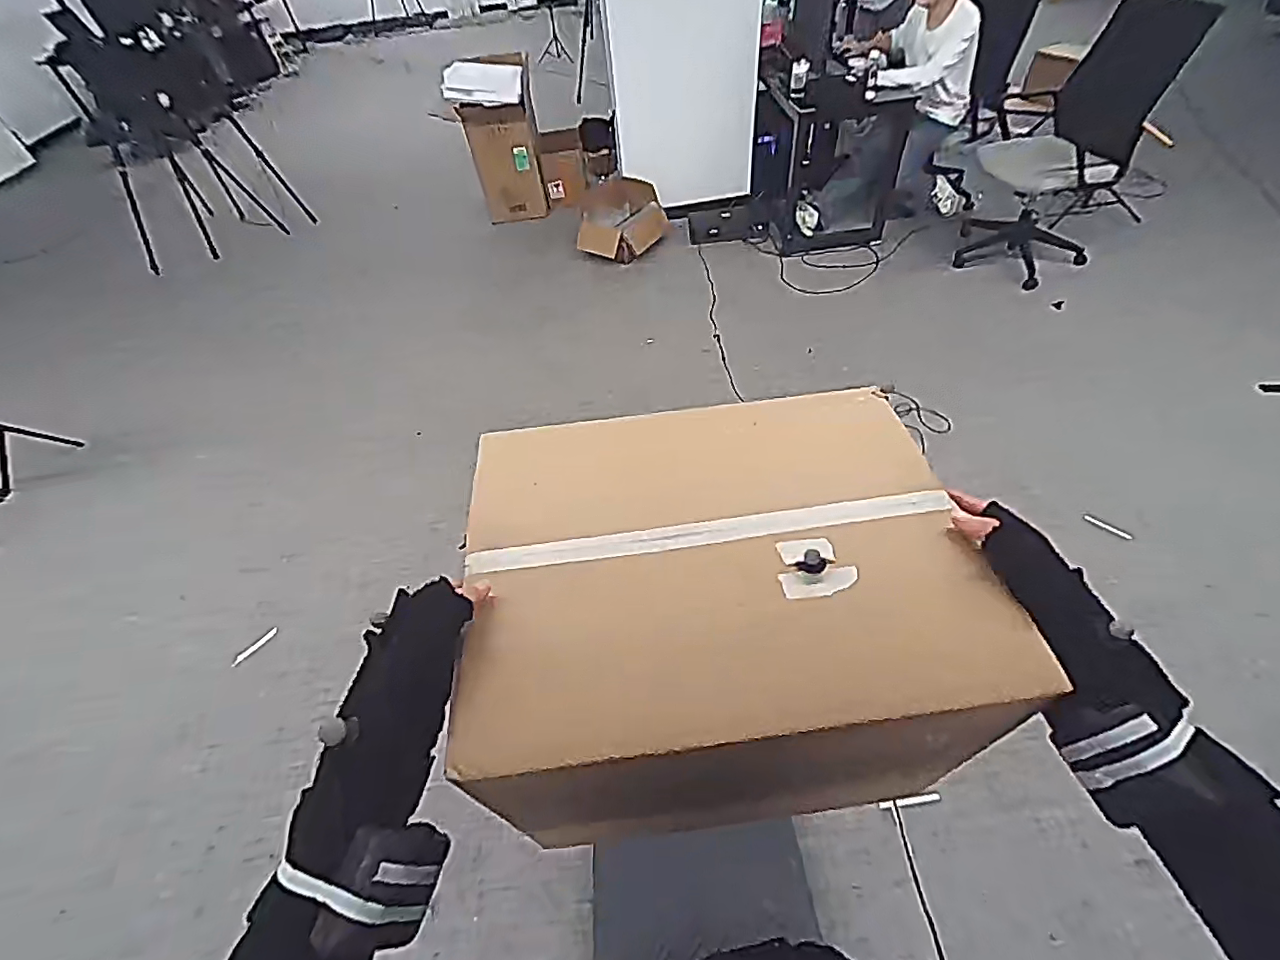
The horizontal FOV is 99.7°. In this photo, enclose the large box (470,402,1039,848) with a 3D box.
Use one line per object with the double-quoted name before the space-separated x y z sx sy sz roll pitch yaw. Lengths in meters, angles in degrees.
"large box" 0.070 0.154 0.571 0.408 0.320 0.320 -7 49 -2
